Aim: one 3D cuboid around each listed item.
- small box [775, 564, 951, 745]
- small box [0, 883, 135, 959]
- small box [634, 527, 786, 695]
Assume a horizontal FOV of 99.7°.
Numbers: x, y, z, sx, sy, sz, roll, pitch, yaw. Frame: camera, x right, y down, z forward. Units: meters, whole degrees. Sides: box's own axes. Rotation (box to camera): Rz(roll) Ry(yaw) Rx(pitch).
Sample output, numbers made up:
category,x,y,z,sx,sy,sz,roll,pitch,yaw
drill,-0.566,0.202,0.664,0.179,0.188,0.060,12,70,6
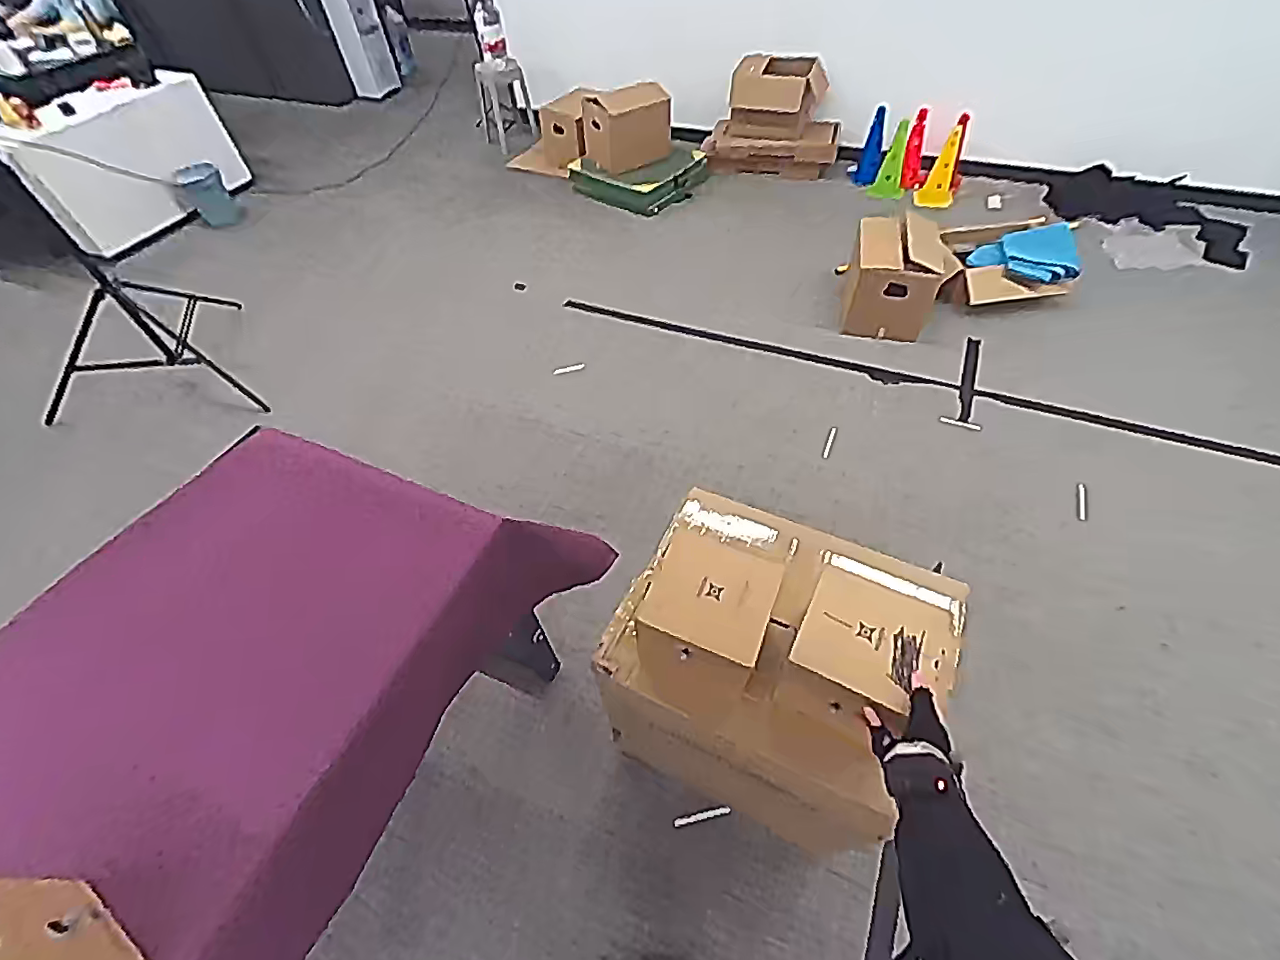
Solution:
category,x,y,z,sx,sy,sz,roll,pitch,yaw
small box,0.311,0.256,0.780,0.179,0.176,0.168,22,57,21
small box,-0.632,0.510,0.503,0.168,0.176,0.179,23,56,21
small box,0.104,0.206,0.834,0.179,0.176,0.168,20,57,16
